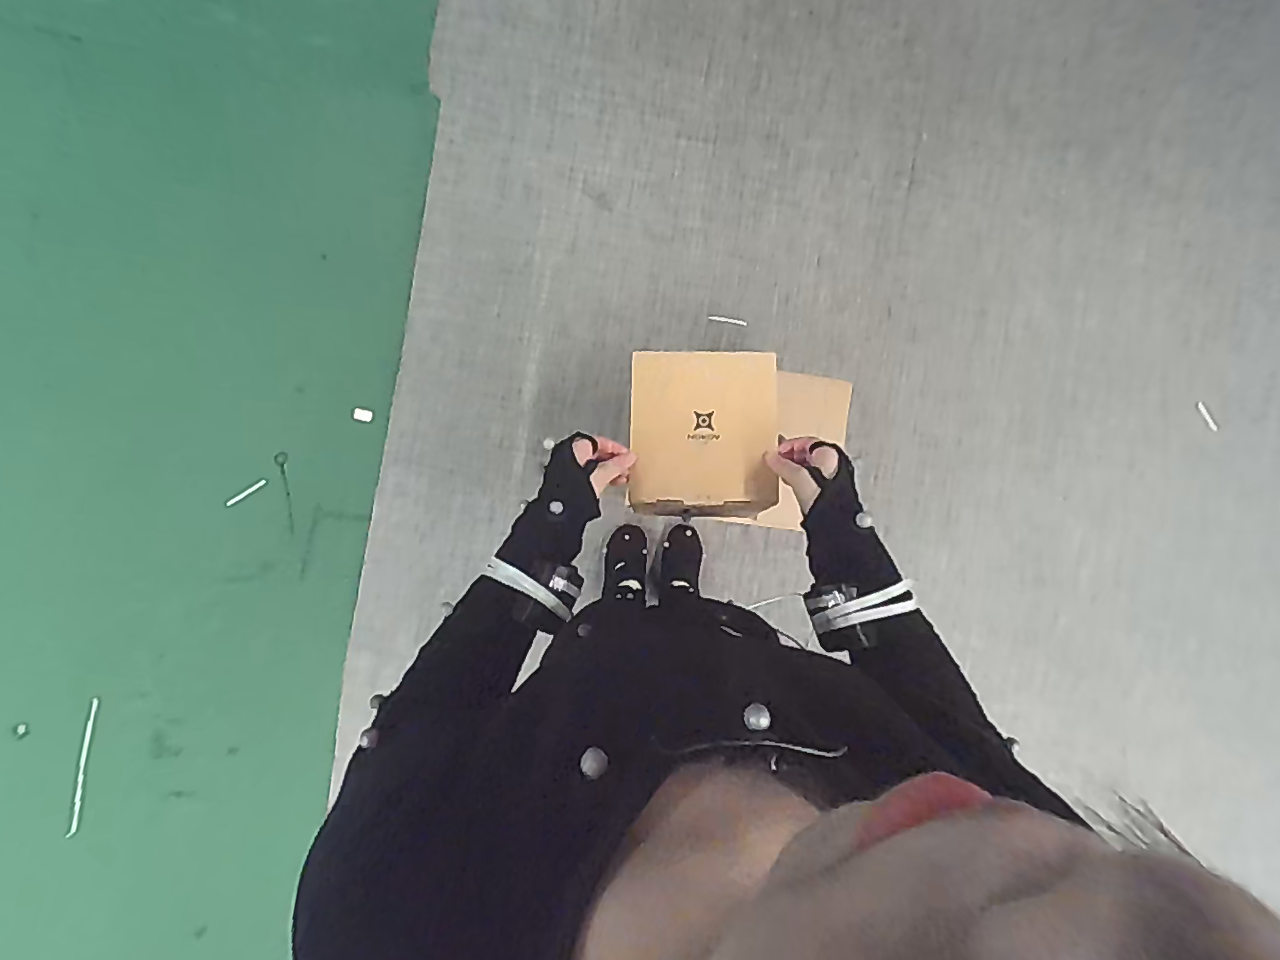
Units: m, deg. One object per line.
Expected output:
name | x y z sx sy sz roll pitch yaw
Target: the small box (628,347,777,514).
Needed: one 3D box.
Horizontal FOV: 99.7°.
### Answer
small box | 0.073 -0.053 0.678 0.168 0.176 0.179 1 83 3
